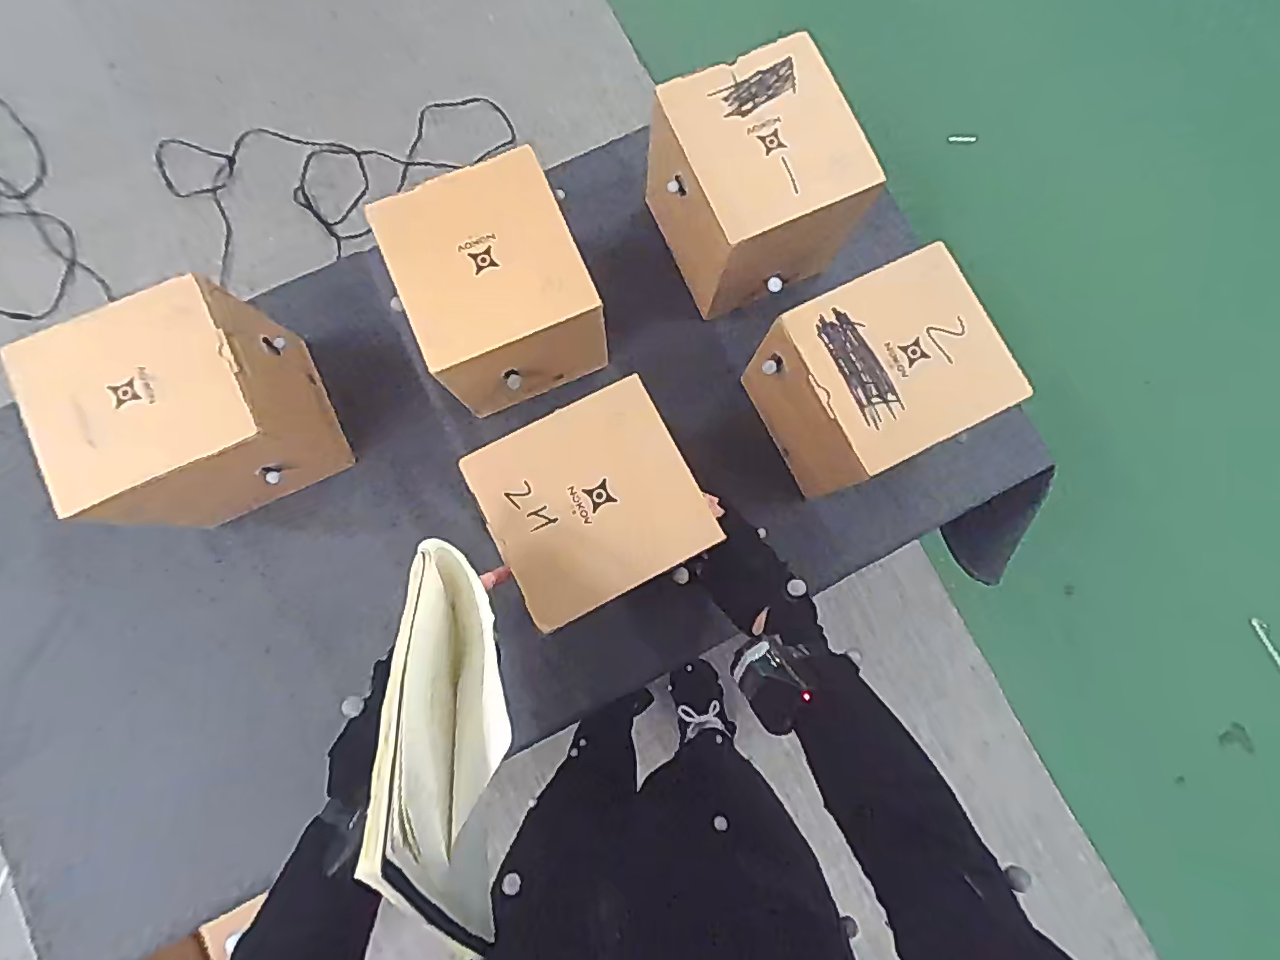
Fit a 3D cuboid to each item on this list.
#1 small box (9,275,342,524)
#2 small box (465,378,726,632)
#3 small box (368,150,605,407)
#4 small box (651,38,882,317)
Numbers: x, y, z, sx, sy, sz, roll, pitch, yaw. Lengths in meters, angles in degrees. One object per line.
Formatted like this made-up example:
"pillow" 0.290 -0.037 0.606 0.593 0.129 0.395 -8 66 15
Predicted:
"small box" -0.433 -0.066 0.543 0.179 0.176 0.168 -24 83 -5
"small box" -0.040 0.029 0.537 0.179 0.176 0.168 -27 81 -5
"small box" -0.143 -0.190 0.570 0.168 0.176 0.179 -24 83 -4
"small box" 0.119 -0.313 0.591 0.168 0.176 0.179 -24 84 -4
